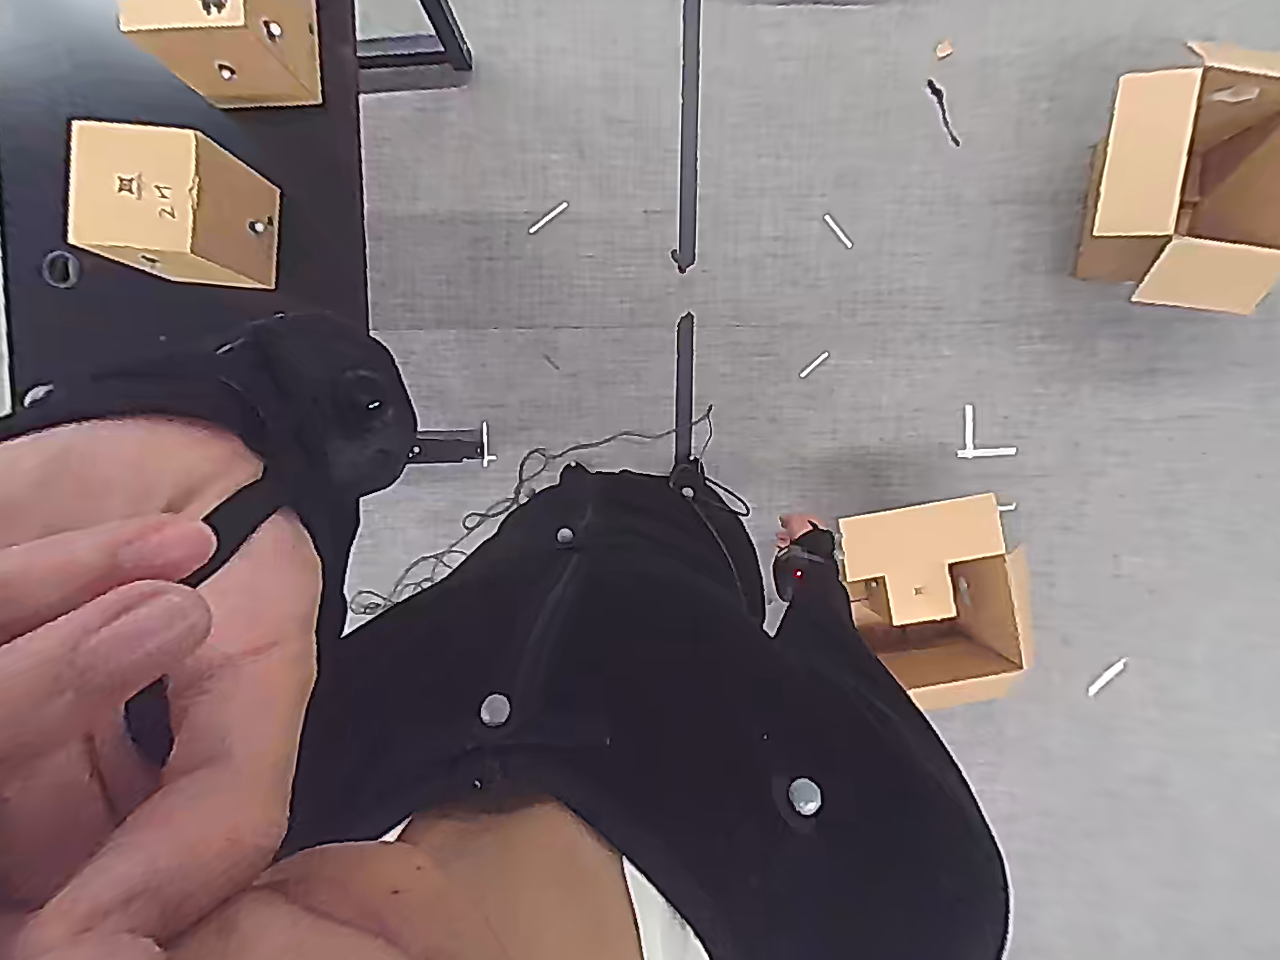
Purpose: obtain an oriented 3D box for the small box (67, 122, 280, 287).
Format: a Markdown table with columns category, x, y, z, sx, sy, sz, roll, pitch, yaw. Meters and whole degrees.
| category | x | y | z | sx | sy | sz | roll | pitch | yaw |
| --- | --- | --- | --- | --- | --- | --- | --- | --- | --- |
| small box | -0.688 | -0.400 | 0.812 | 0.179 | 0.176 | 0.168 | 5 | 94 | 1 |
